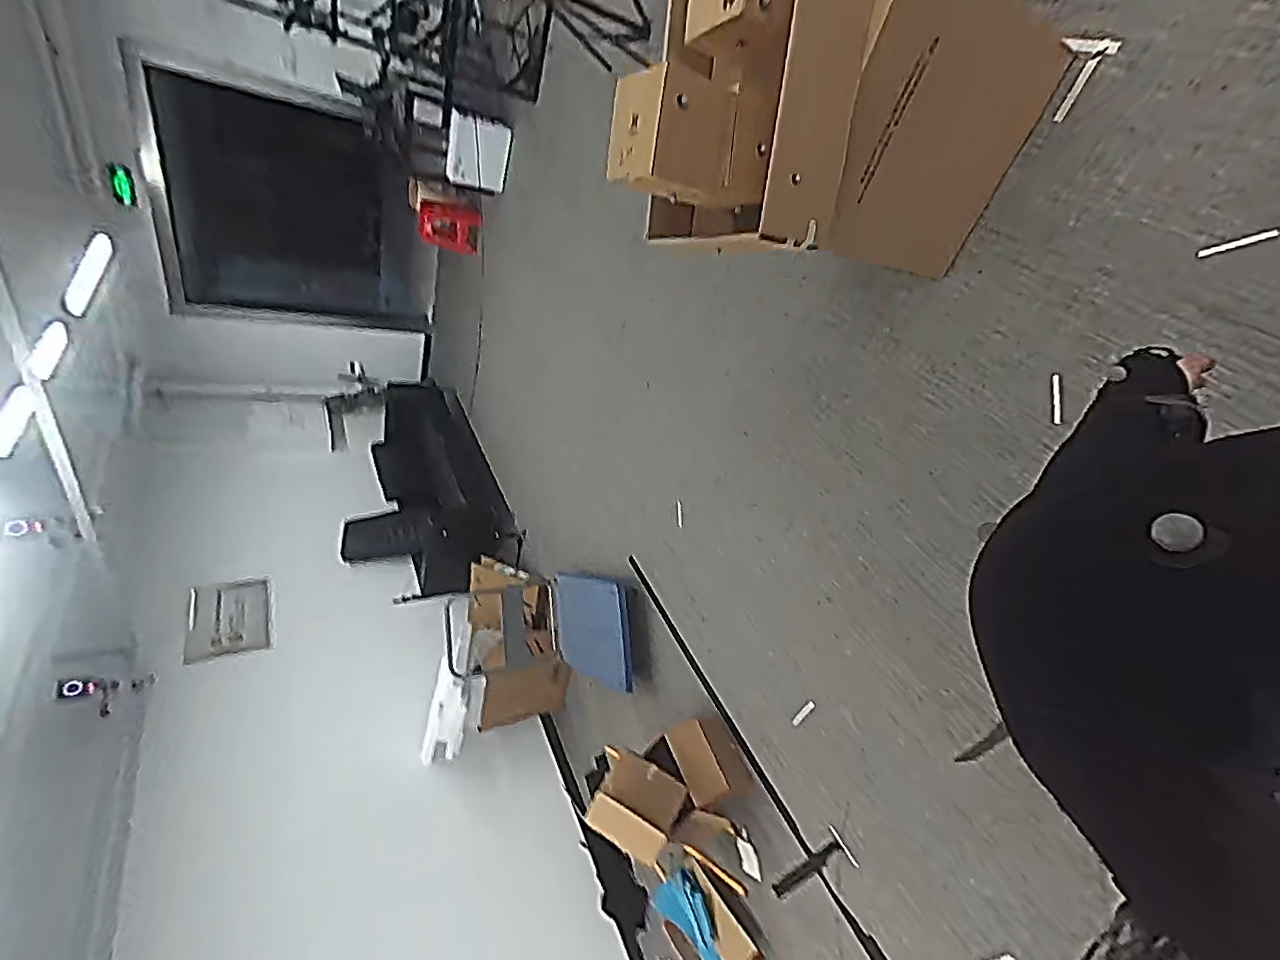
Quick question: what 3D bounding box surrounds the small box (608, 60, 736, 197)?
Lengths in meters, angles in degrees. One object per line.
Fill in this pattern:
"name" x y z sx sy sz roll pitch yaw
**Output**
"small box" 0.061 -0.653 1.029 0.168 0.176 0.179 35 123 50
